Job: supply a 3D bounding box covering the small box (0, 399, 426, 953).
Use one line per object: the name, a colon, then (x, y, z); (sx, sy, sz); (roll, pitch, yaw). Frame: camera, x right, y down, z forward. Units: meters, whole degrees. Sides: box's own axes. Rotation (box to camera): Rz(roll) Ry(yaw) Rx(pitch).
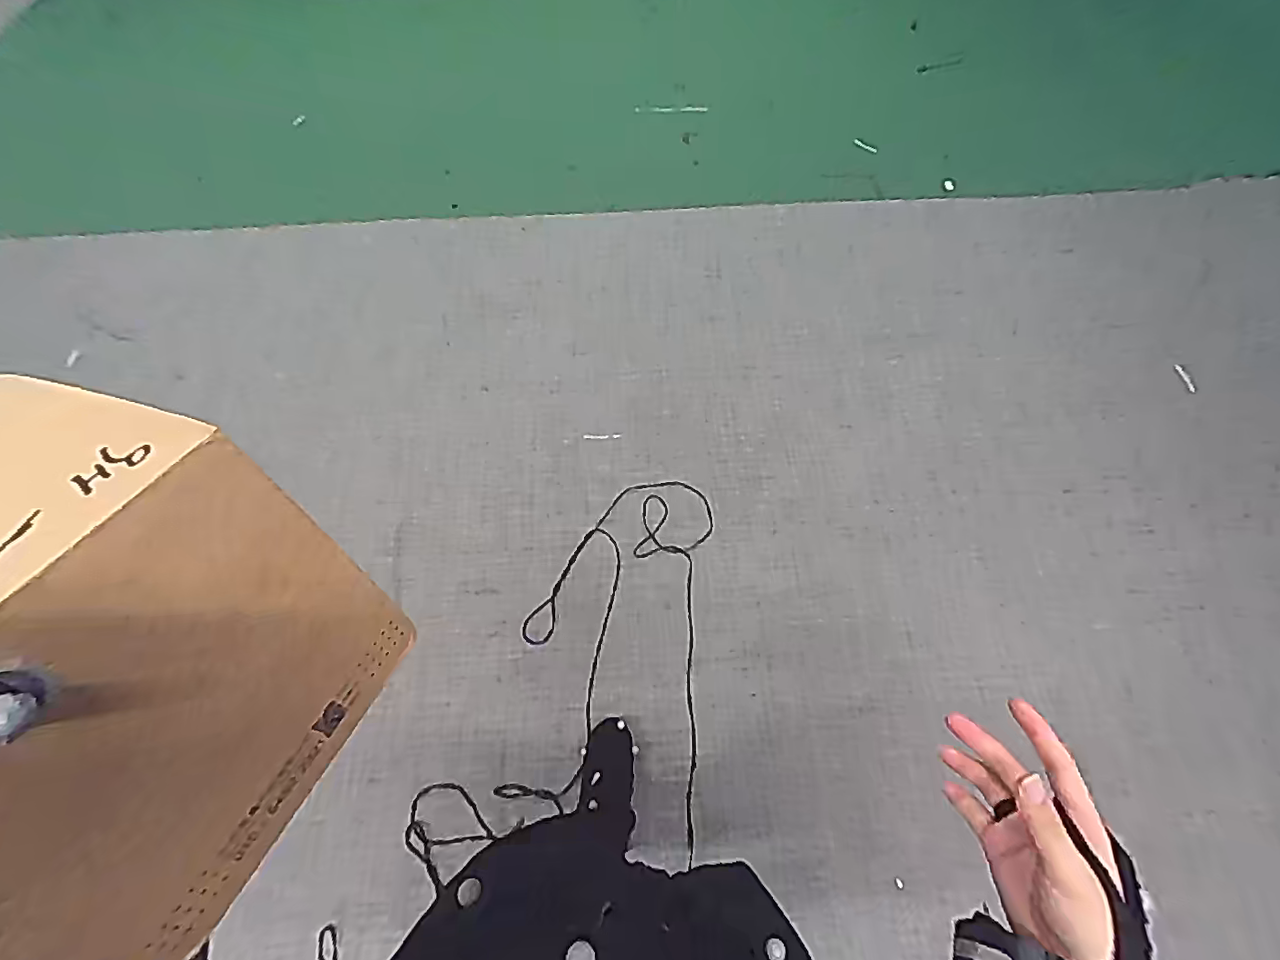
small box: (-0.244, 0.085, 0.253); (0.179, 0.176, 0.168); (11, 52, 22)
